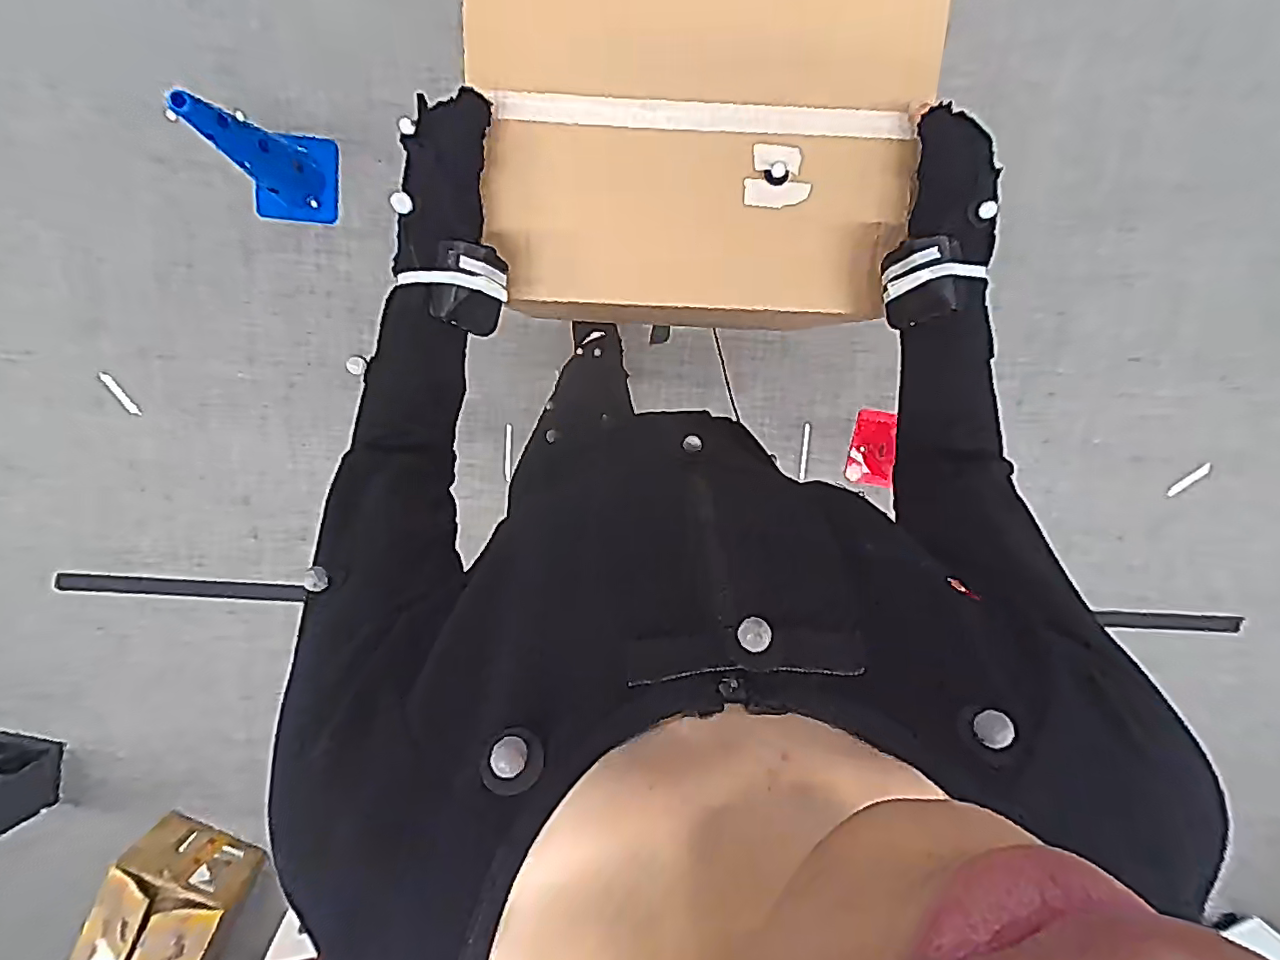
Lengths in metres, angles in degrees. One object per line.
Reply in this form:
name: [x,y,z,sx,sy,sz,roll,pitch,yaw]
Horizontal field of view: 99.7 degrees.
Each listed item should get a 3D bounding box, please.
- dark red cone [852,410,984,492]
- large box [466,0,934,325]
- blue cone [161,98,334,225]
dark red cone: [0.672,-0.049,1.270,0.201,0.394,0.202,9,98,-1]
large box: [0.044,-0.351,0.620,0.408,0.320,0.320,1,103,-3]
blue cone: [-0.858,-0.714,1.182,0.192,0.380,0.193,7,98,-1]
